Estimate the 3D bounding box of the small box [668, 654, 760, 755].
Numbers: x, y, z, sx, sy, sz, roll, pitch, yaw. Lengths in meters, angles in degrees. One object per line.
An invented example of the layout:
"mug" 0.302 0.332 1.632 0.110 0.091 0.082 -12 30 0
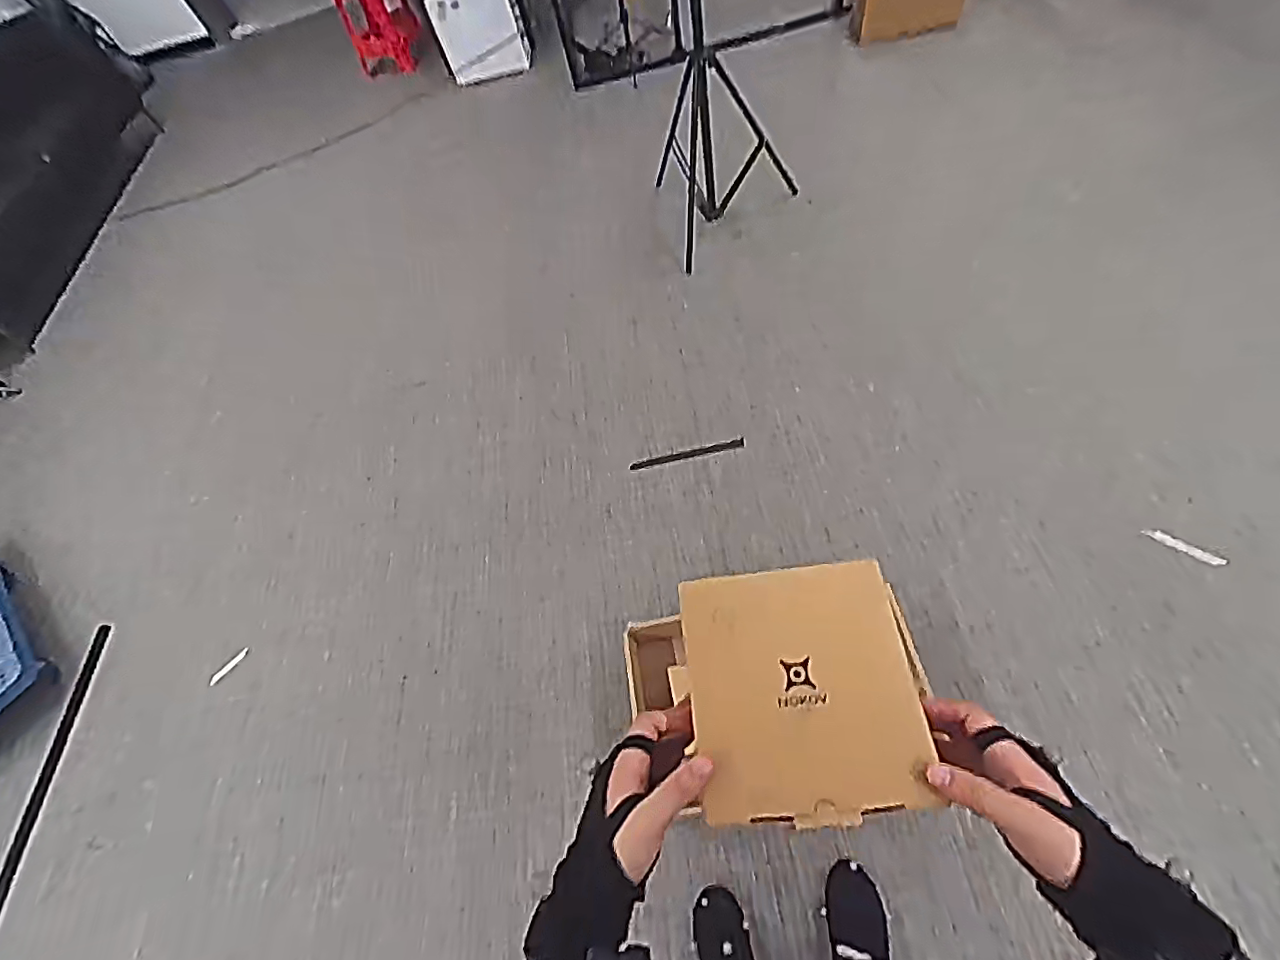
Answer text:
"small box" 0.166 0.504 1.204 0.168 0.176 0.179 -13 59 3
